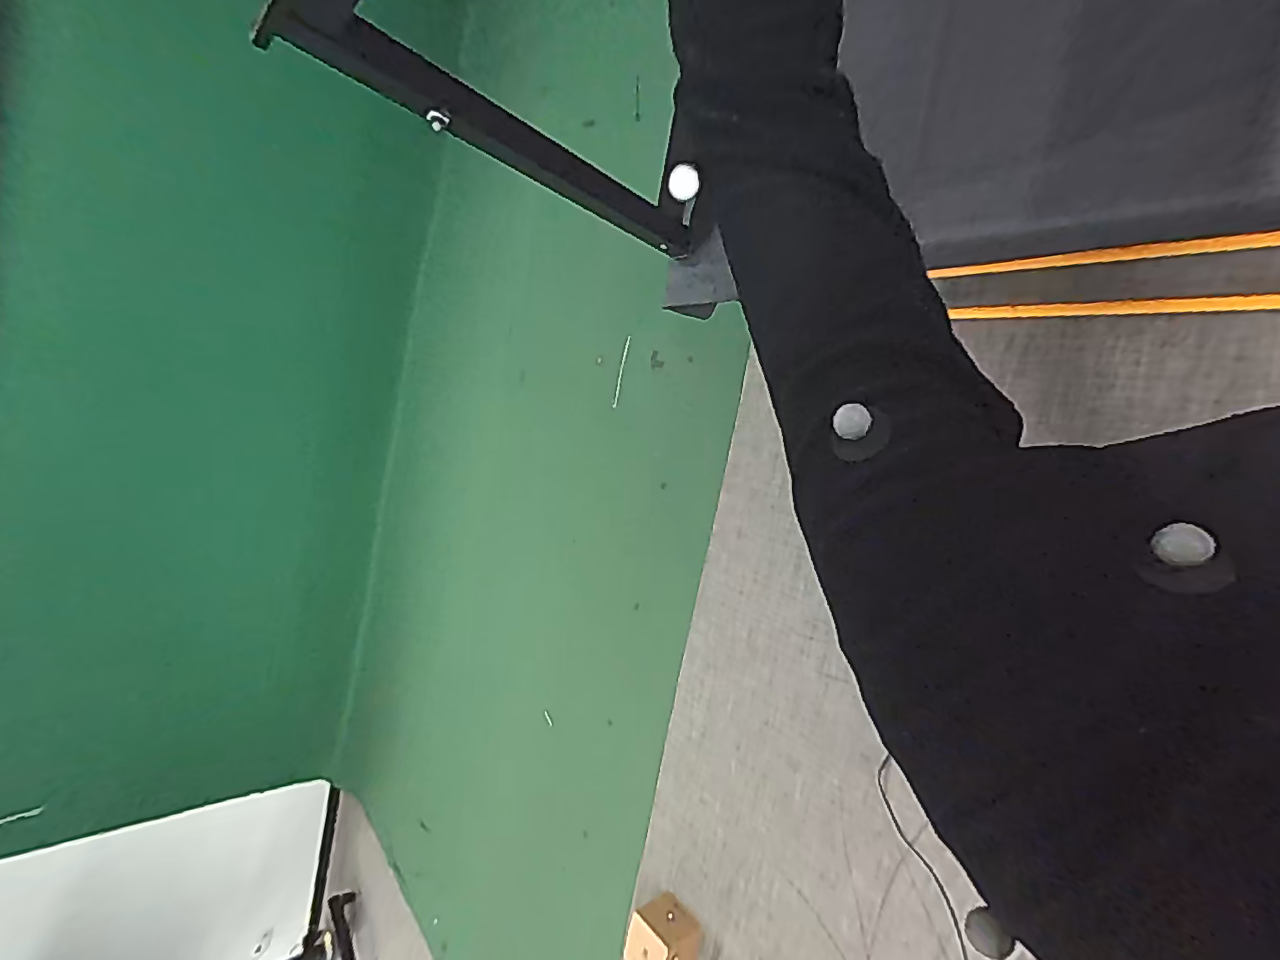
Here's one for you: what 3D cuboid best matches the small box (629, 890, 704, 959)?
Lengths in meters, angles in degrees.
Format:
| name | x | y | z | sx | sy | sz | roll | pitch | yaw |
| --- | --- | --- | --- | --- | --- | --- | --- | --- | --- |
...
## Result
| name | x | y | z | sx | sy | sz | roll | pitch | yaw |
| --- | --- | --- | --- | --- | --- | --- | --- | --- | --- |
| small box | 0.092 | 1.527 | 1.801 | 0.168 | 0.176 | 0.179 | 17 | 96 | 47 |
